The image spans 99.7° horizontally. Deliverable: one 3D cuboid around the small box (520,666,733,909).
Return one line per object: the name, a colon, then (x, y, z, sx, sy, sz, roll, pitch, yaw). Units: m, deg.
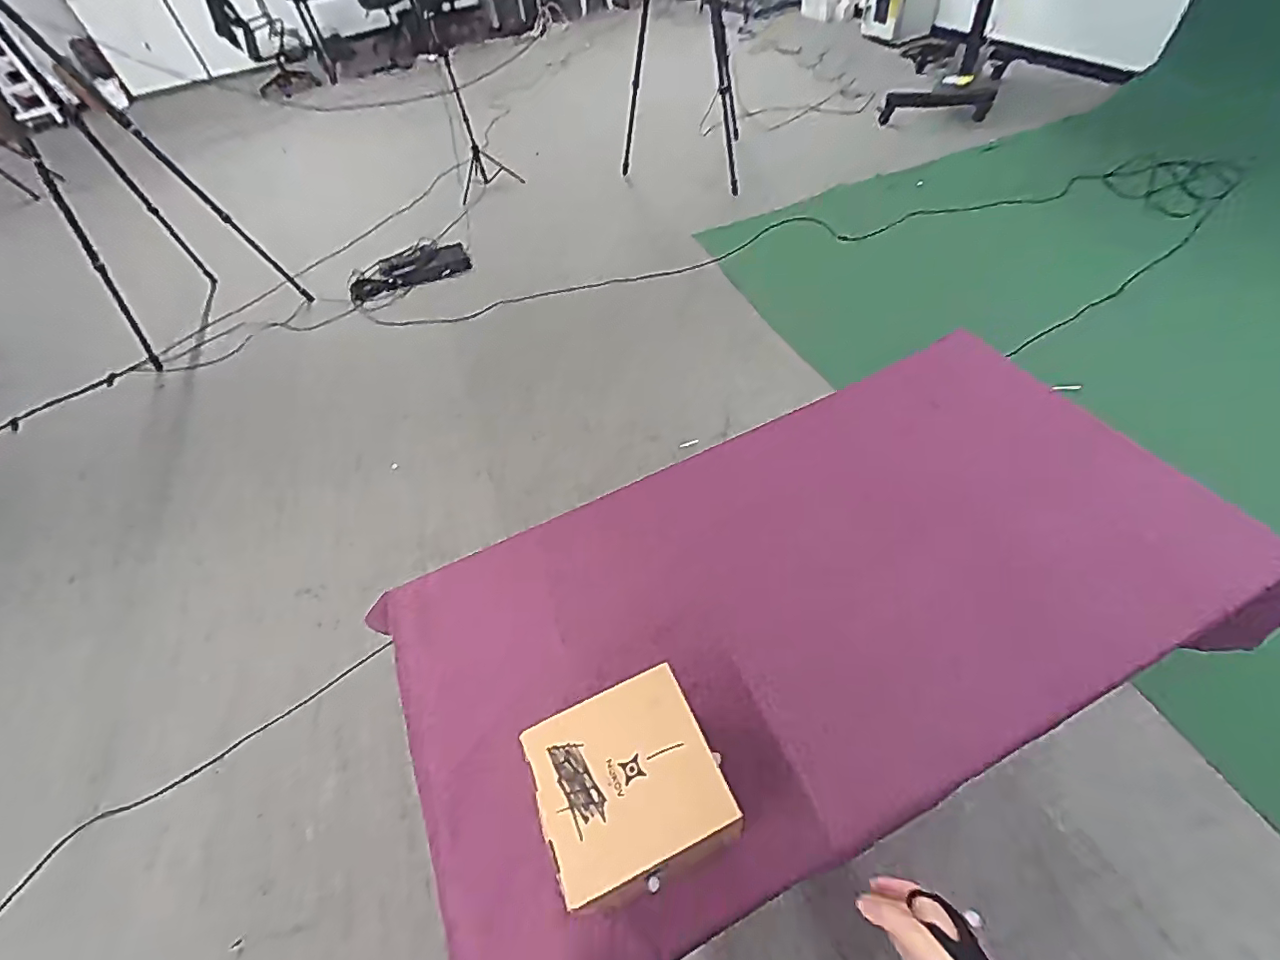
small box: (-0.010, 0.344, 0.601, 0.179, 0.176, 0.168, -23, 51, -10)
